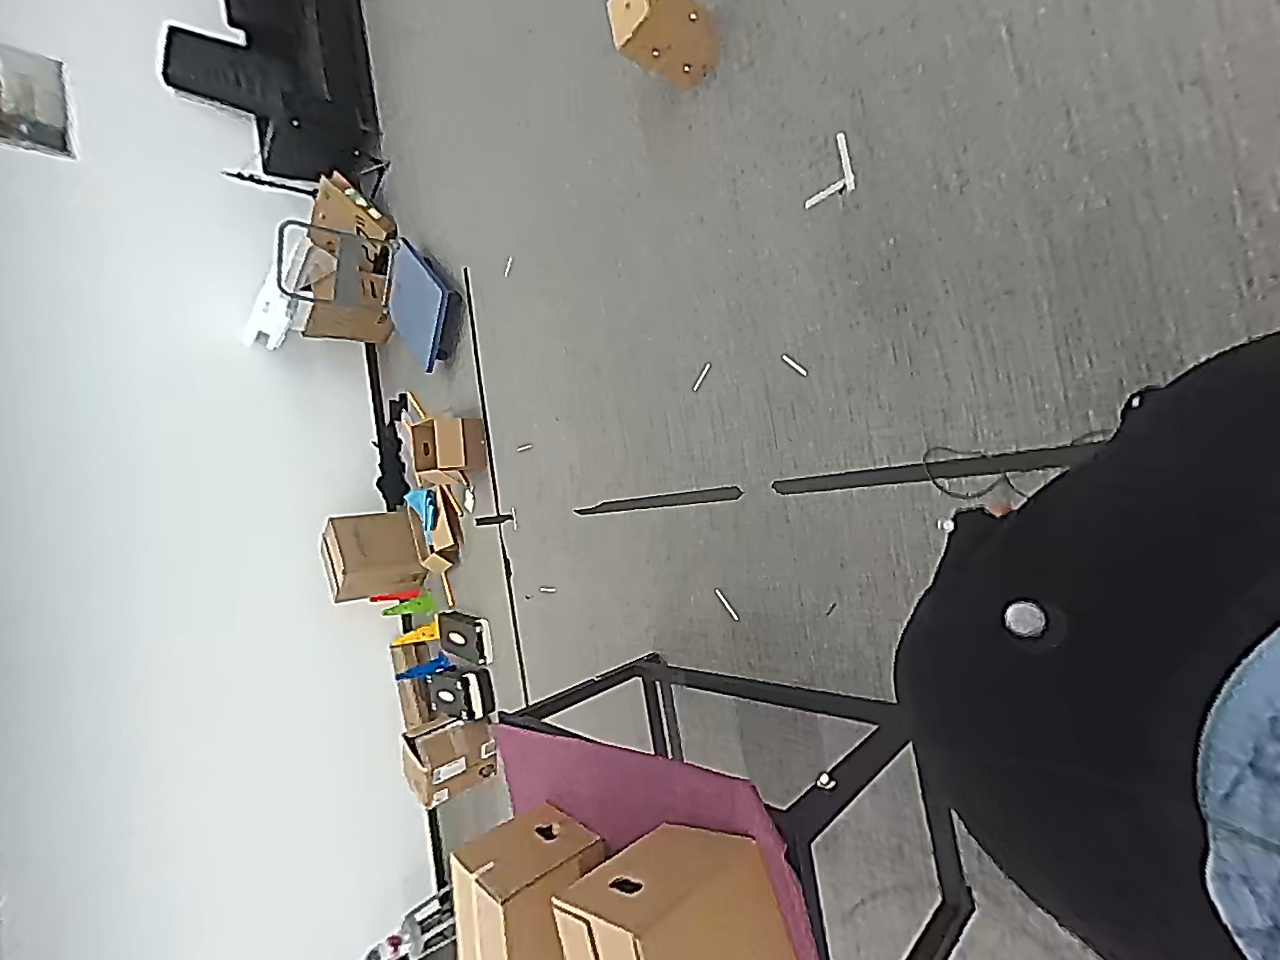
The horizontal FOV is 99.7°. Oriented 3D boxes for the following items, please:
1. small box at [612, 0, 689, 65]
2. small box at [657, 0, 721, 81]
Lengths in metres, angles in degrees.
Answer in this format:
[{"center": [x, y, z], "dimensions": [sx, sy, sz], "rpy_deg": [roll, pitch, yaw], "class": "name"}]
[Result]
[{"center": [0.034, -1.498, 1.738], "dimensions": [0.168, 0.176, 0.179], "rpy_deg": [-14, 85, 49], "class": "small box"}, {"center": [0.156, -1.511, 1.845], "dimensions": [0.168, 0.176, 0.179], "rpy_deg": [-16, 82, 48], "class": "small box"}]
